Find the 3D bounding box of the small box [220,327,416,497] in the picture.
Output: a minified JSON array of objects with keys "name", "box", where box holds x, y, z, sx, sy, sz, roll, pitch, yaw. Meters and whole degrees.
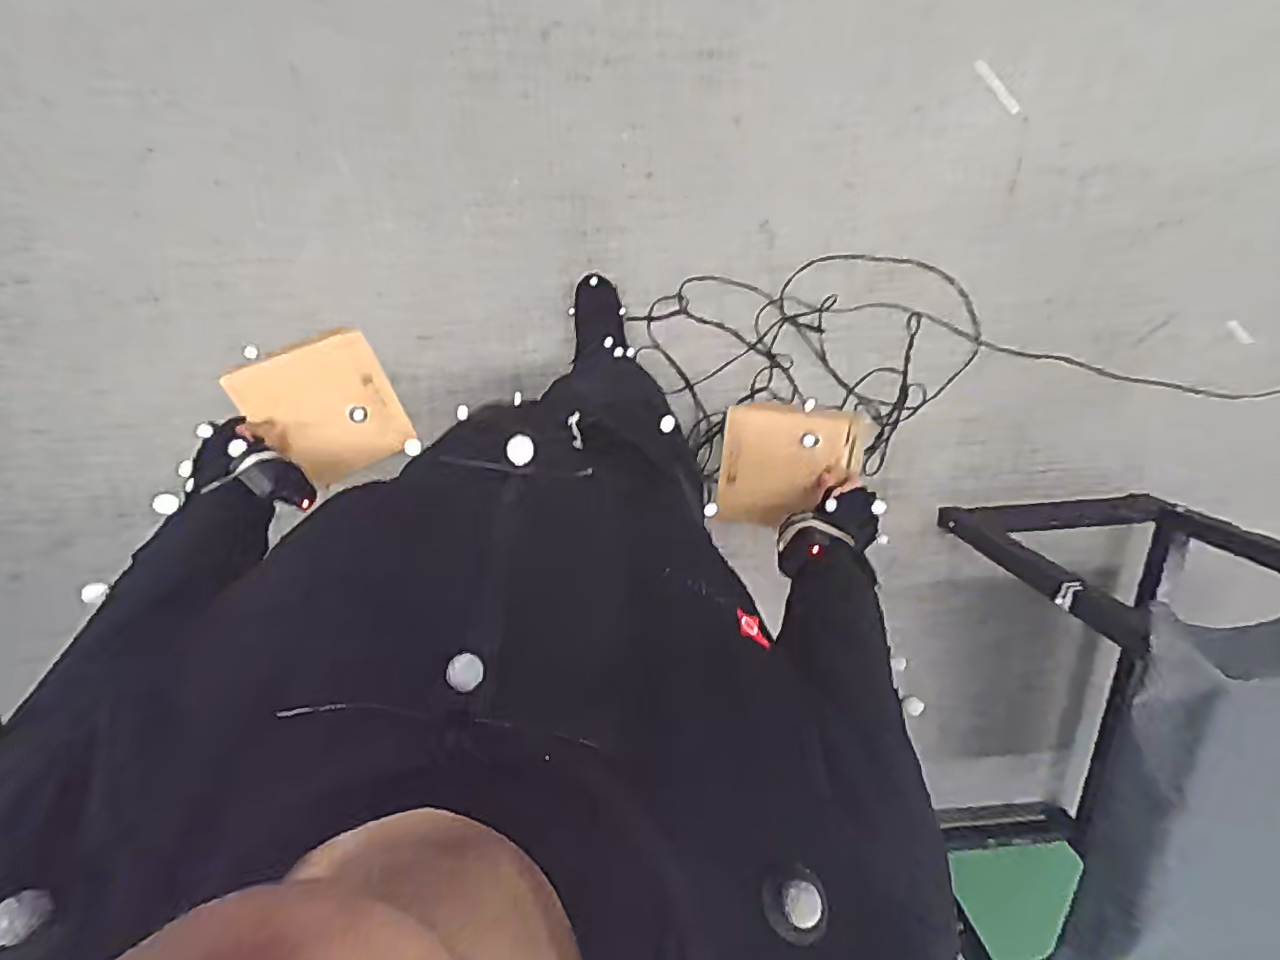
[{"name":"small box","box":[-0.432,-0.104,0.747,0.176,0.179,0.168,-30,118,-23]}]
